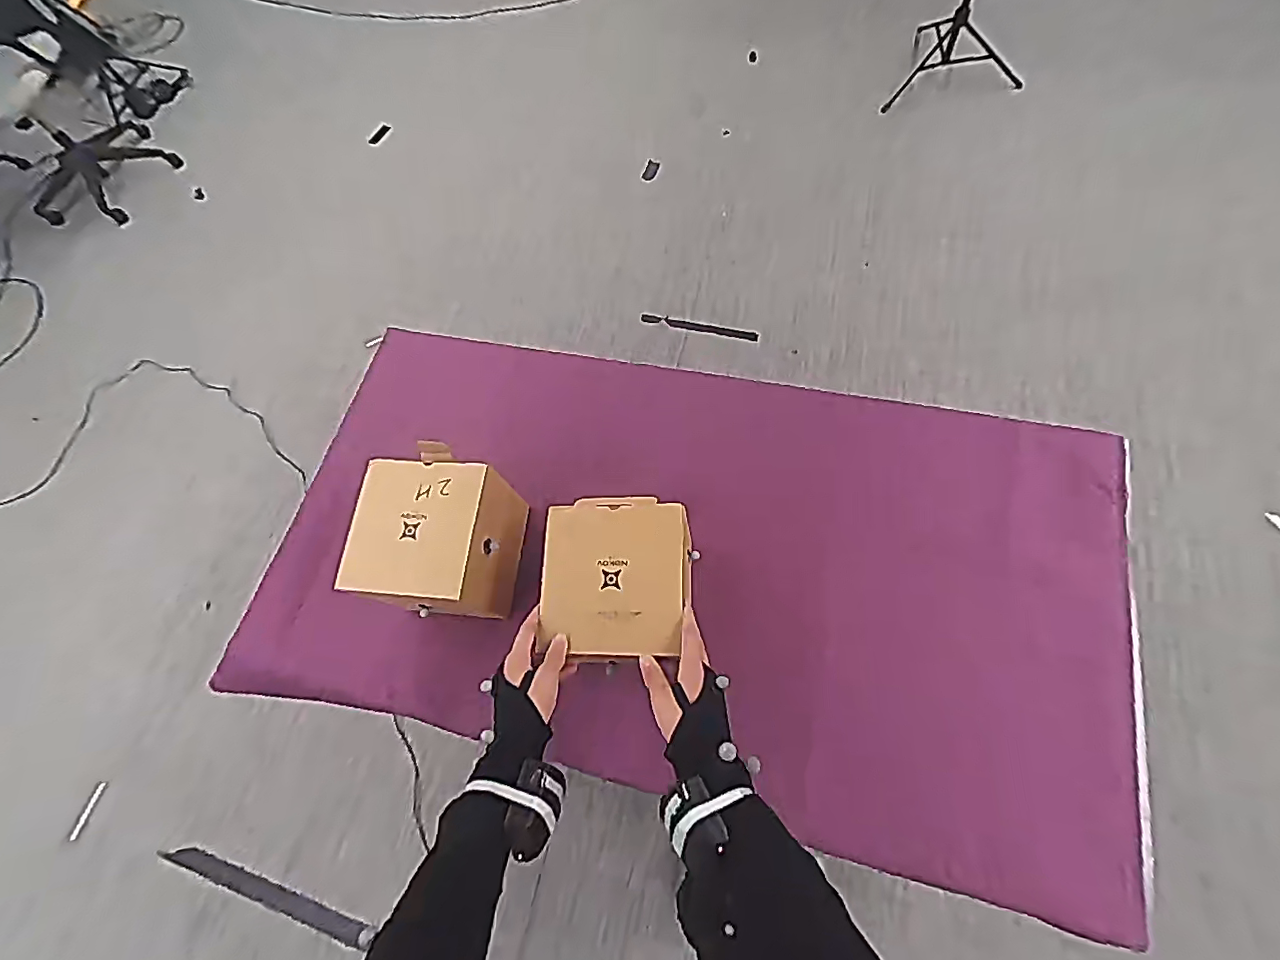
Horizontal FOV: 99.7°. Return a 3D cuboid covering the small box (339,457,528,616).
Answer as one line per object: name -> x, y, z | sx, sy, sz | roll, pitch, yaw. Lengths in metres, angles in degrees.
small box -> -0.267, 0.085, 0.745 | 0.168, 0.176, 0.179 | 4, 69, 9

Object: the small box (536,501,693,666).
small box -> -0.020, 0.137, 0.691 | 0.168, 0.176, 0.179 | 0, 68, 9
